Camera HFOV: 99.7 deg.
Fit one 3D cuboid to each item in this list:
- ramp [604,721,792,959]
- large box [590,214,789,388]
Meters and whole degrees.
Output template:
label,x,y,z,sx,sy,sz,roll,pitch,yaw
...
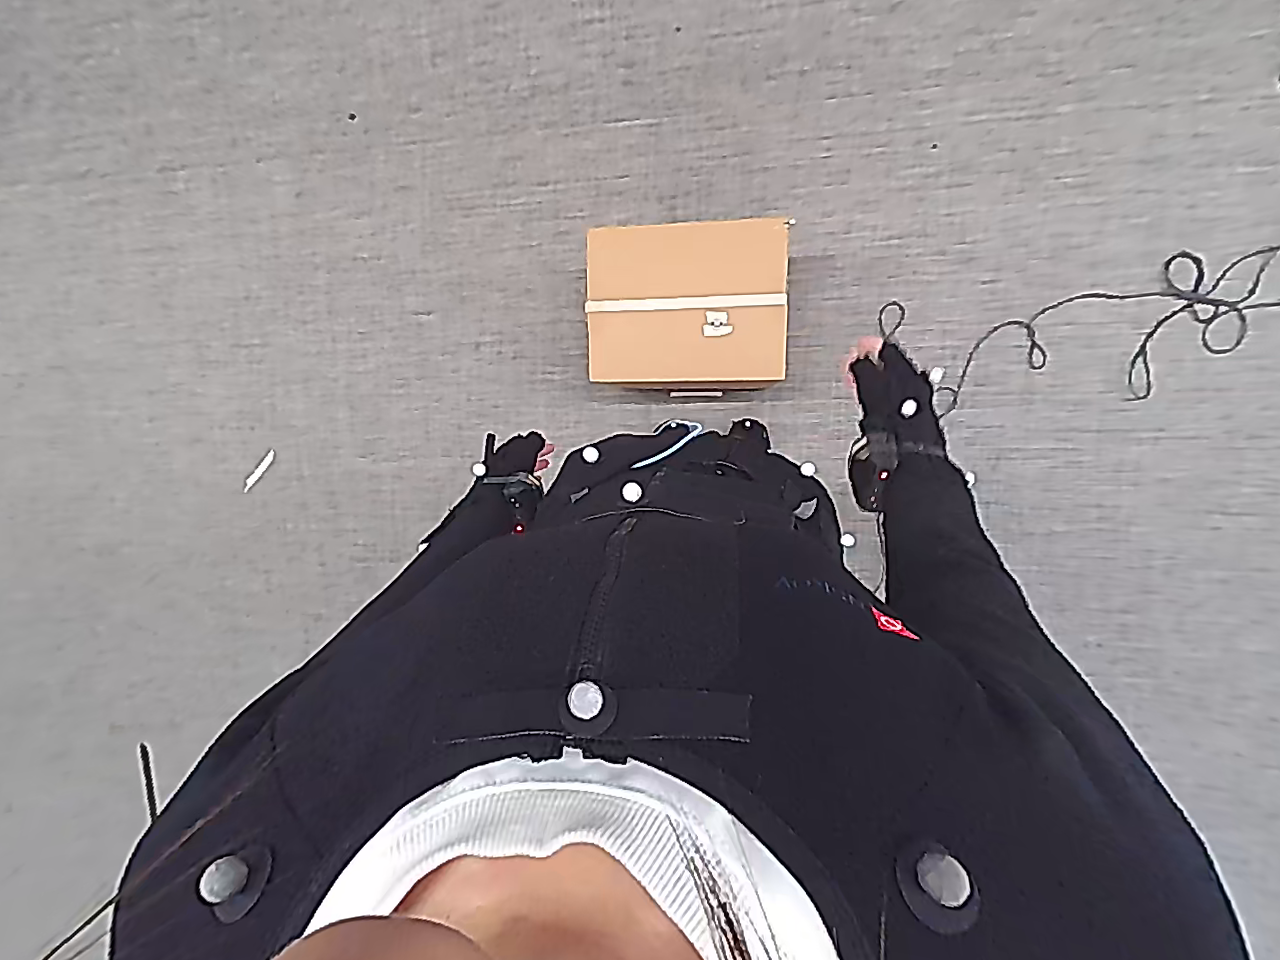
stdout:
label,x,y,z,sx,sy,sz,roll,pitch,yaw
ramp,0.148,1.192,1.481,0.509,0.206,0.991,1,96,10
large box,0.116,-0.382,1.243,0.408,0.320,0.320,0,97,8
